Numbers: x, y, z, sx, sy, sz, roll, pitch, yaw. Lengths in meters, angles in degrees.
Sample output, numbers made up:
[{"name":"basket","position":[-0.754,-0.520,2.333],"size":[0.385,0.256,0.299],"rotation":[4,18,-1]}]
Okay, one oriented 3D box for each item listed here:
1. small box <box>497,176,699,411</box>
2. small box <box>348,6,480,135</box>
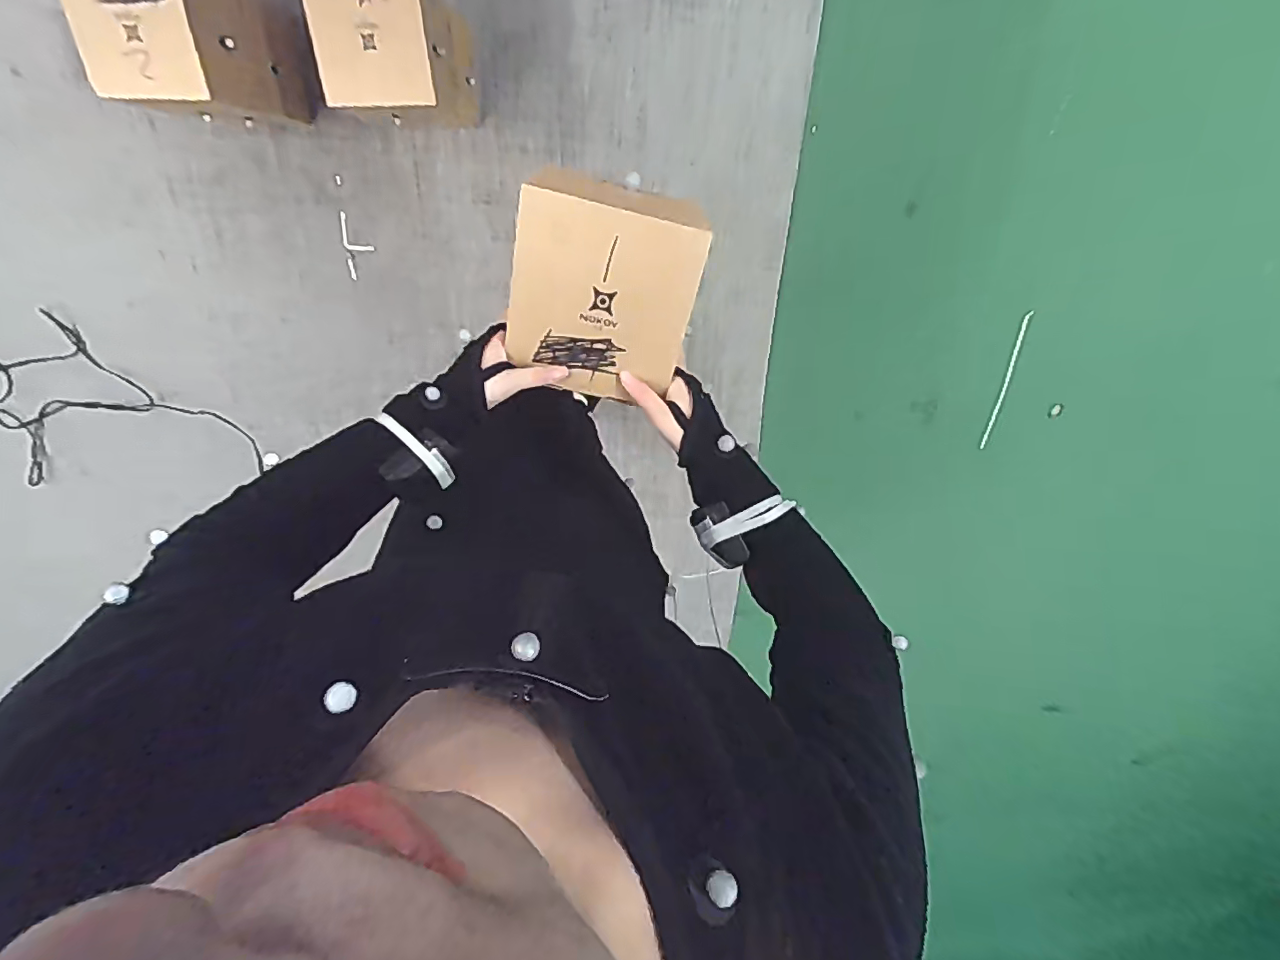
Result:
[{"name":"small box","position":[-0.043,-0.201,0.574],"size":[0.168,0.176,0.179],"rotation":[12,122,-7]},{"name":"small box","position":[-0.416,-0.762,1.024],"size":[0.179,0.176,0.168],"rotation":[-1,116,-4]}]
